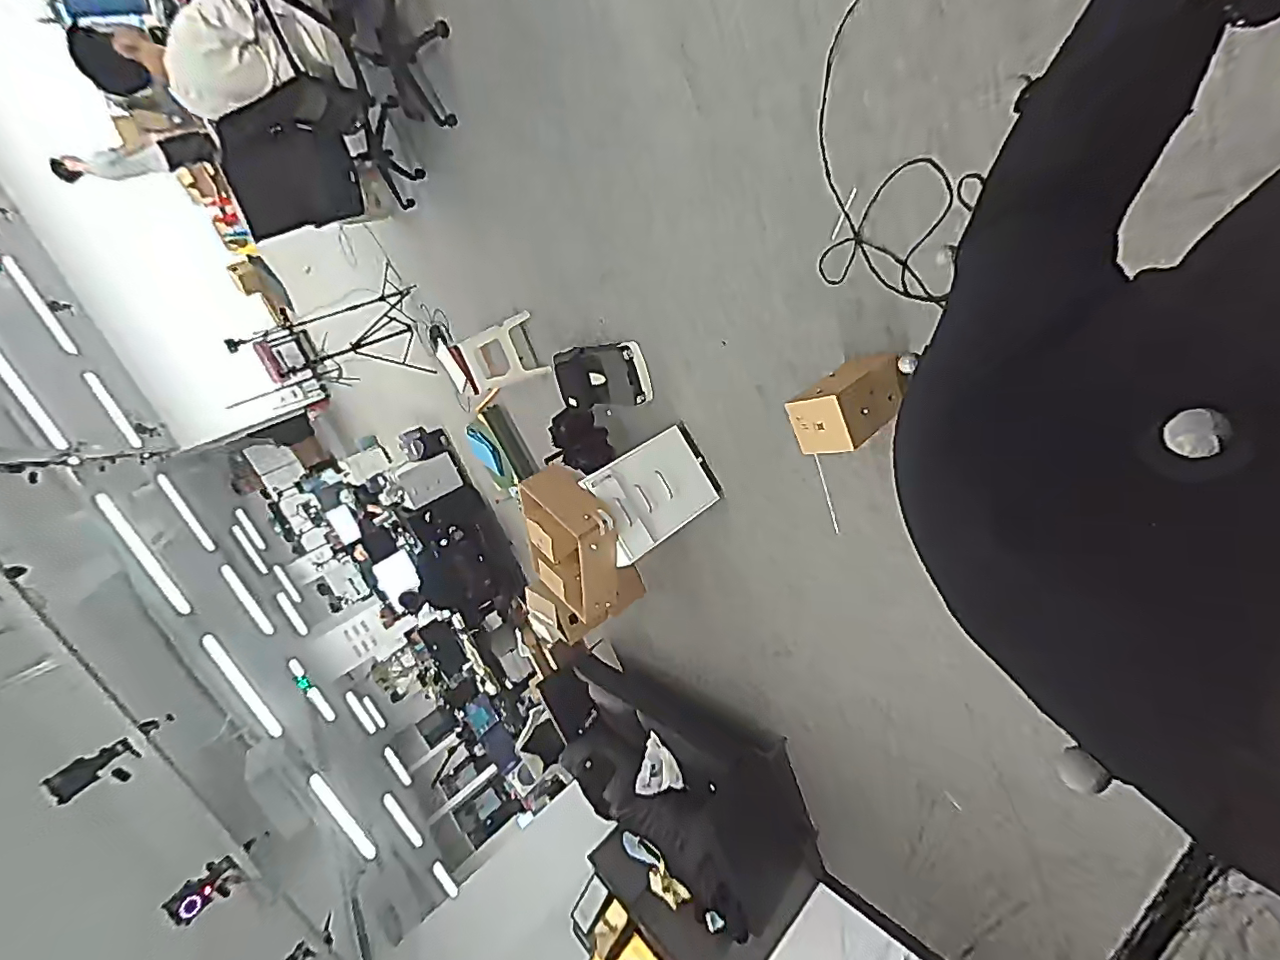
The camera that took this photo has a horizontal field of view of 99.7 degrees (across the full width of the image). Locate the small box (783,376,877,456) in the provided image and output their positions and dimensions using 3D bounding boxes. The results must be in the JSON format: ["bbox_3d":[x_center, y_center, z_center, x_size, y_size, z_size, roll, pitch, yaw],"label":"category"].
[{"bbox_3d":[0.544,-0.181,1.527,0.179,0.176,0.168,-1,117,57],"label":"small box"}]

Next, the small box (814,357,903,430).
[{"bbox_3d":[0.662,-0.253,1.617,0.179,0.176,0.168,1,119,56],"label":"small box"}]
